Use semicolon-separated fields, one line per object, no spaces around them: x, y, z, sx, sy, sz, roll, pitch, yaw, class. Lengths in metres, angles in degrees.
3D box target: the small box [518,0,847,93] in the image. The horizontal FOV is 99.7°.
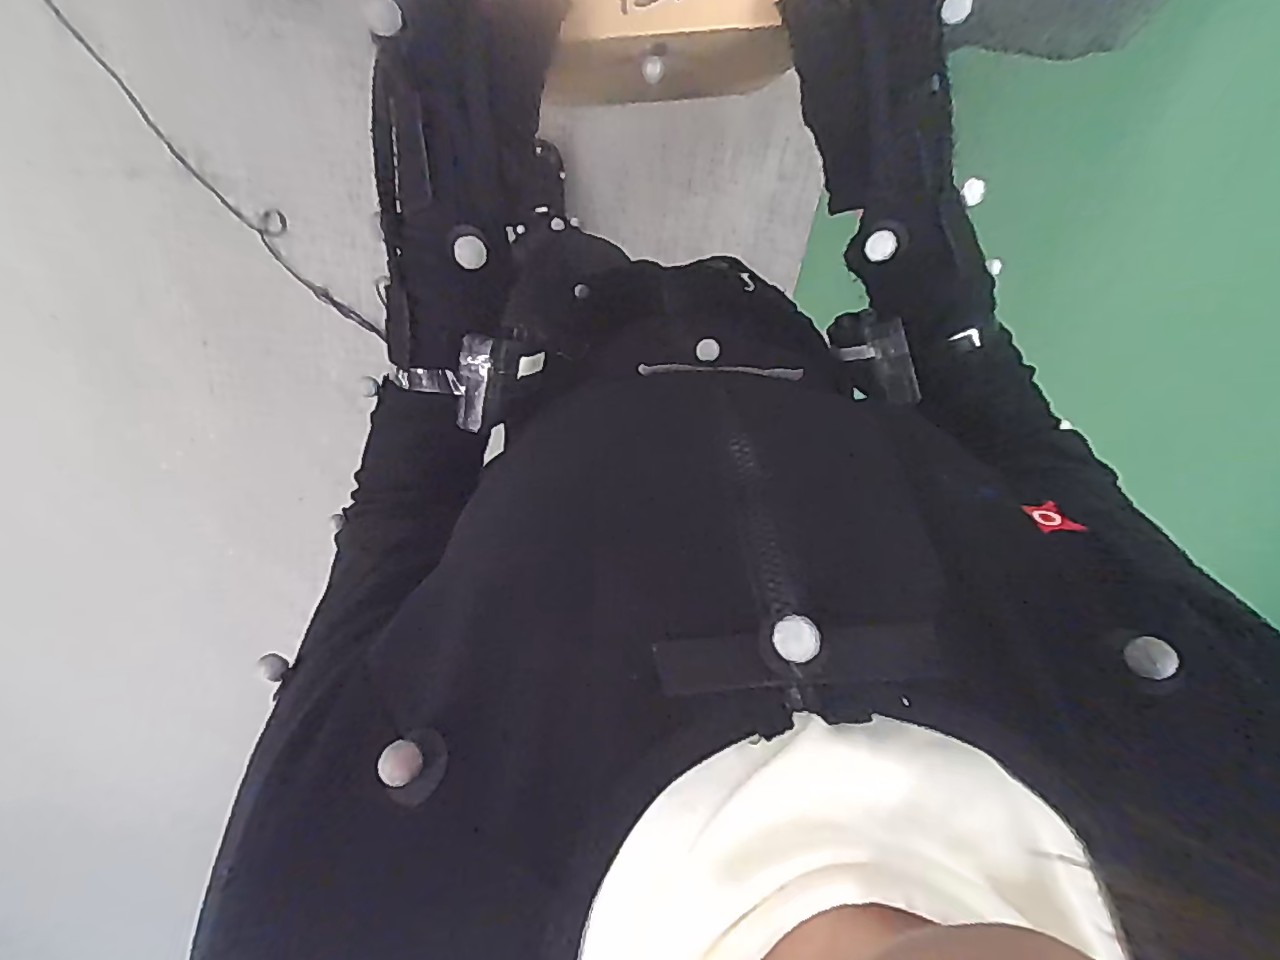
0.009;-0.337;0.295;0.168;0.176;0.179;-6;116;-4;small box
